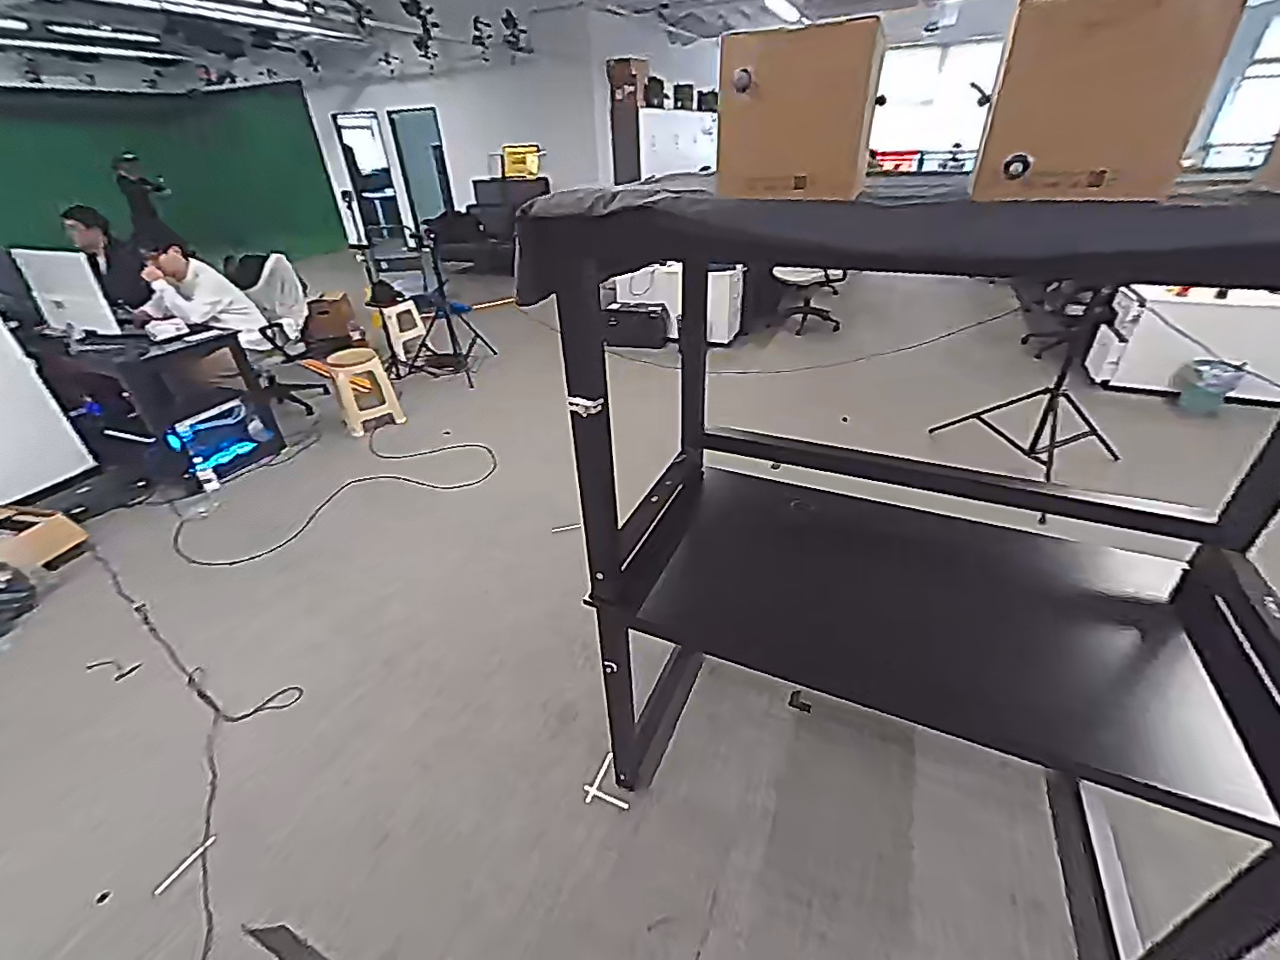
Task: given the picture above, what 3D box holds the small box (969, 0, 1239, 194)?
[{"bbox_3d":[0.461,-0.397,0.566,0.168,0.176,0.179,12,33,22],"label":"small box"}]
